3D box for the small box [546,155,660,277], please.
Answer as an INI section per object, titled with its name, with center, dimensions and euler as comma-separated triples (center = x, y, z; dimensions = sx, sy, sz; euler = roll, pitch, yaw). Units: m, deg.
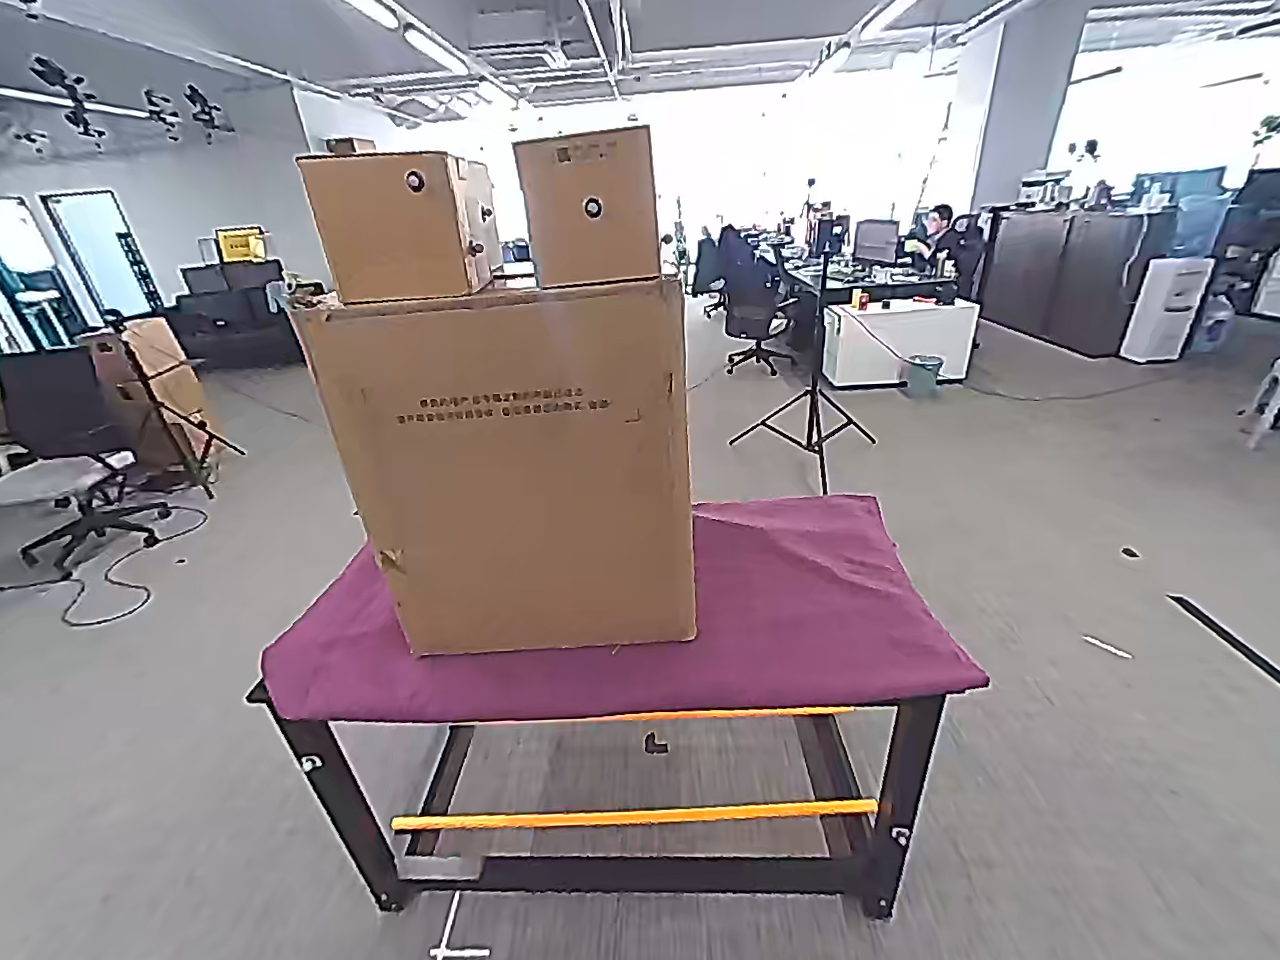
[small box]
center = -0.055, -0.450, 0.933
dimensions = 0.168, 0.176, 0.179
euler = -4, 27, 4
